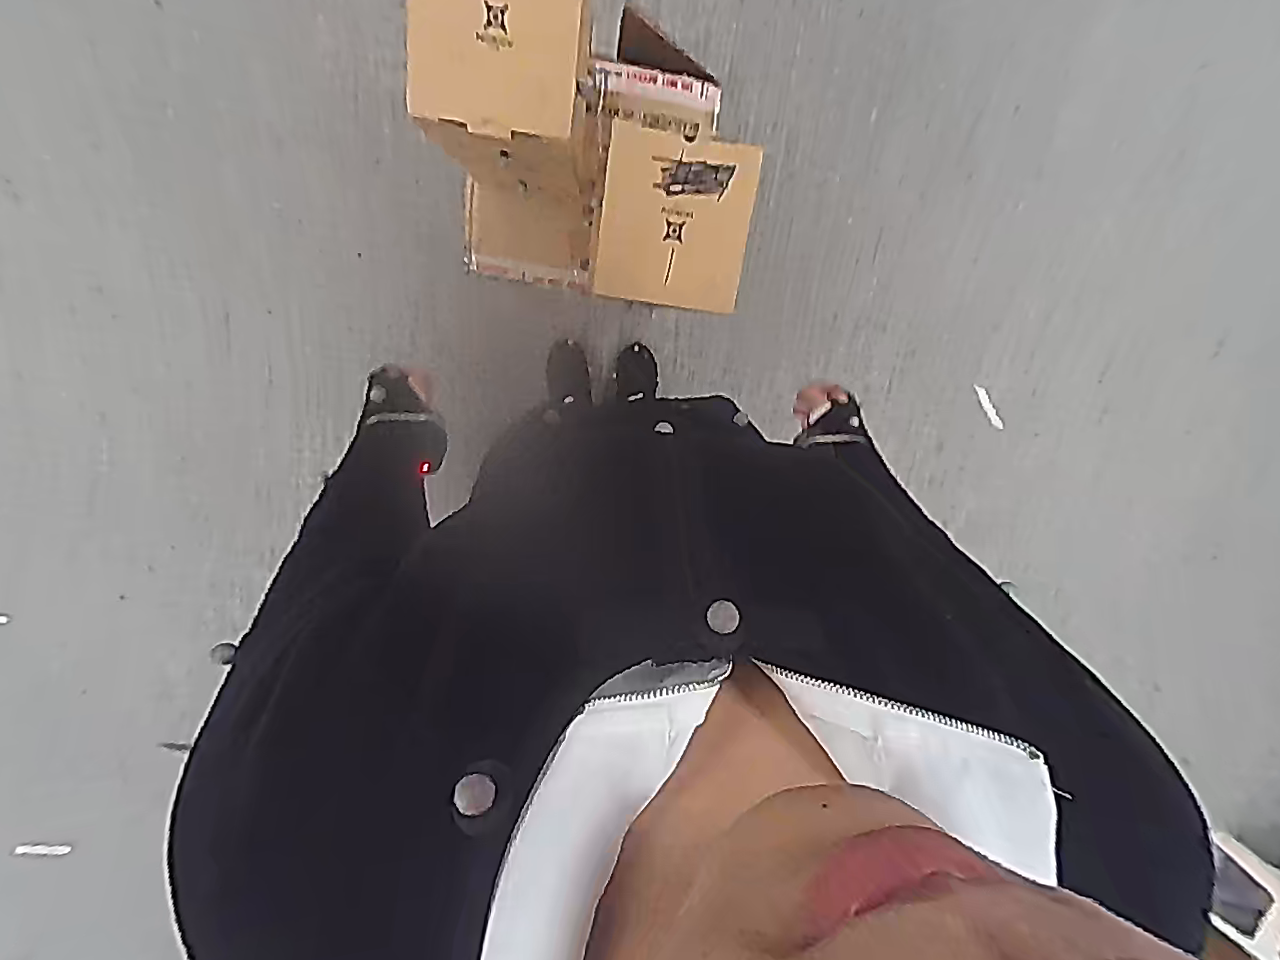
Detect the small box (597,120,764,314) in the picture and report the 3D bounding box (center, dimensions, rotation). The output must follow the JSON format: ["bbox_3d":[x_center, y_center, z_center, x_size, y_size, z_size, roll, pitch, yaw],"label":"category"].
[{"bbox_3d":[0.036,-0.309,0.671,0.168,0.176,0.179,6,108,-7],"label":"small box"}]

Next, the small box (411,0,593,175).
[{"bbox_3d":[-0.144,-0.461,0.605,0.168,0.176,0.179,6,108,-6],"label":"small box"}]

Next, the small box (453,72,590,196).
[{"bbox_3d":[-0.159,-0.520,0.758,0.168,0.176,0.179,5,107,-5],"label":"small box"}]
